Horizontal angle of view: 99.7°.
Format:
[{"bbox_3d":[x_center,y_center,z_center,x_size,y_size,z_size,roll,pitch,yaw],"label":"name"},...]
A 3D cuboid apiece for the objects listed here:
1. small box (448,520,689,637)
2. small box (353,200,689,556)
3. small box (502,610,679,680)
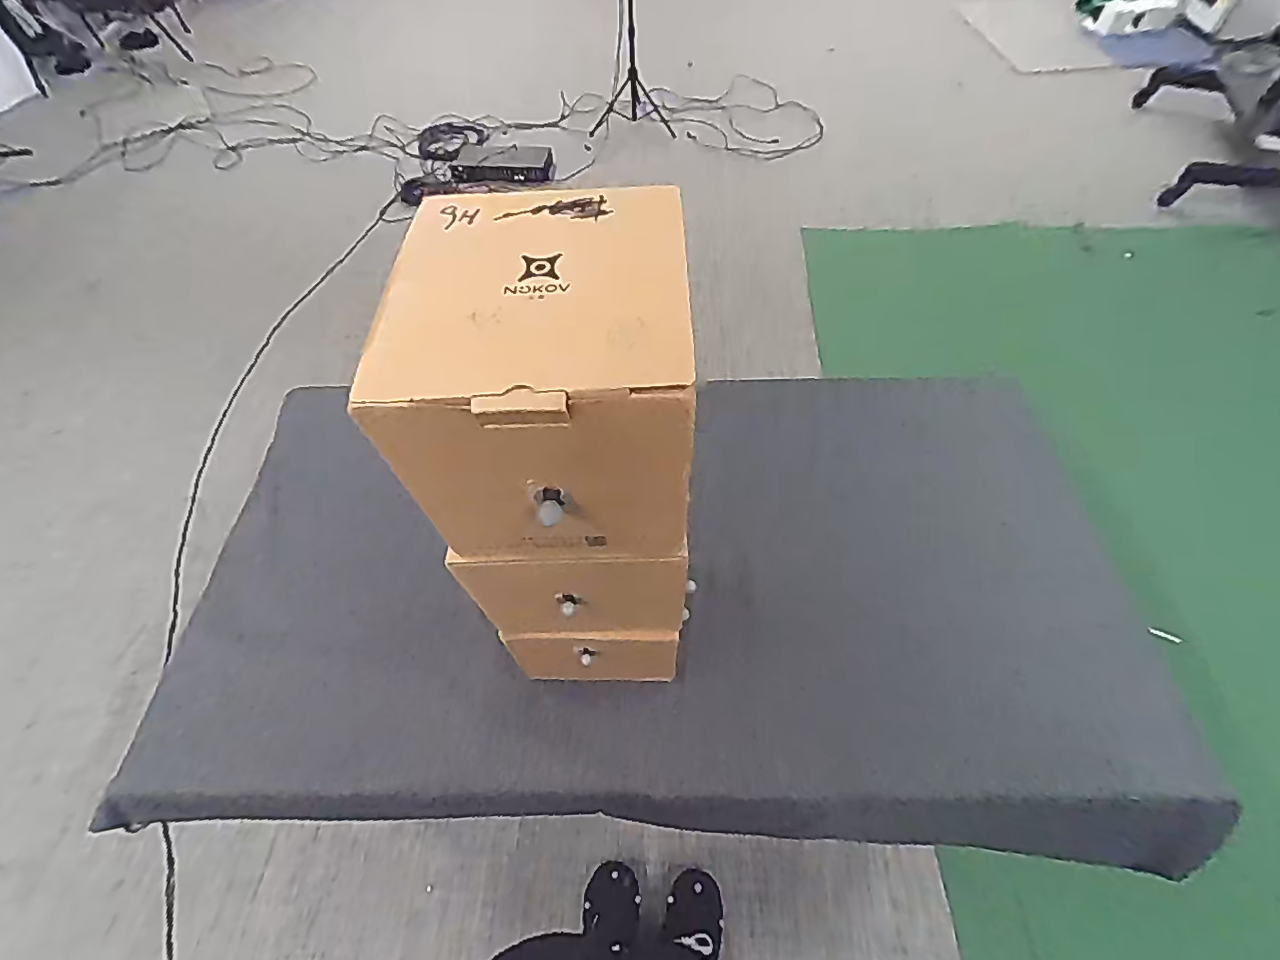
[{"bbox_3d":[-0.050,0.039,0.496,0.179,0.176,0.168,-2,58,2],"label":"small box"},{"bbox_3d":[-0.053,-0.056,0.364,0.168,0.176,0.179,-1,58,2],"label":"small box"},{"bbox_3d":[-0.045,0.132,0.633,0.179,0.176,0.168,0,58,1],"label":"small box"}]
